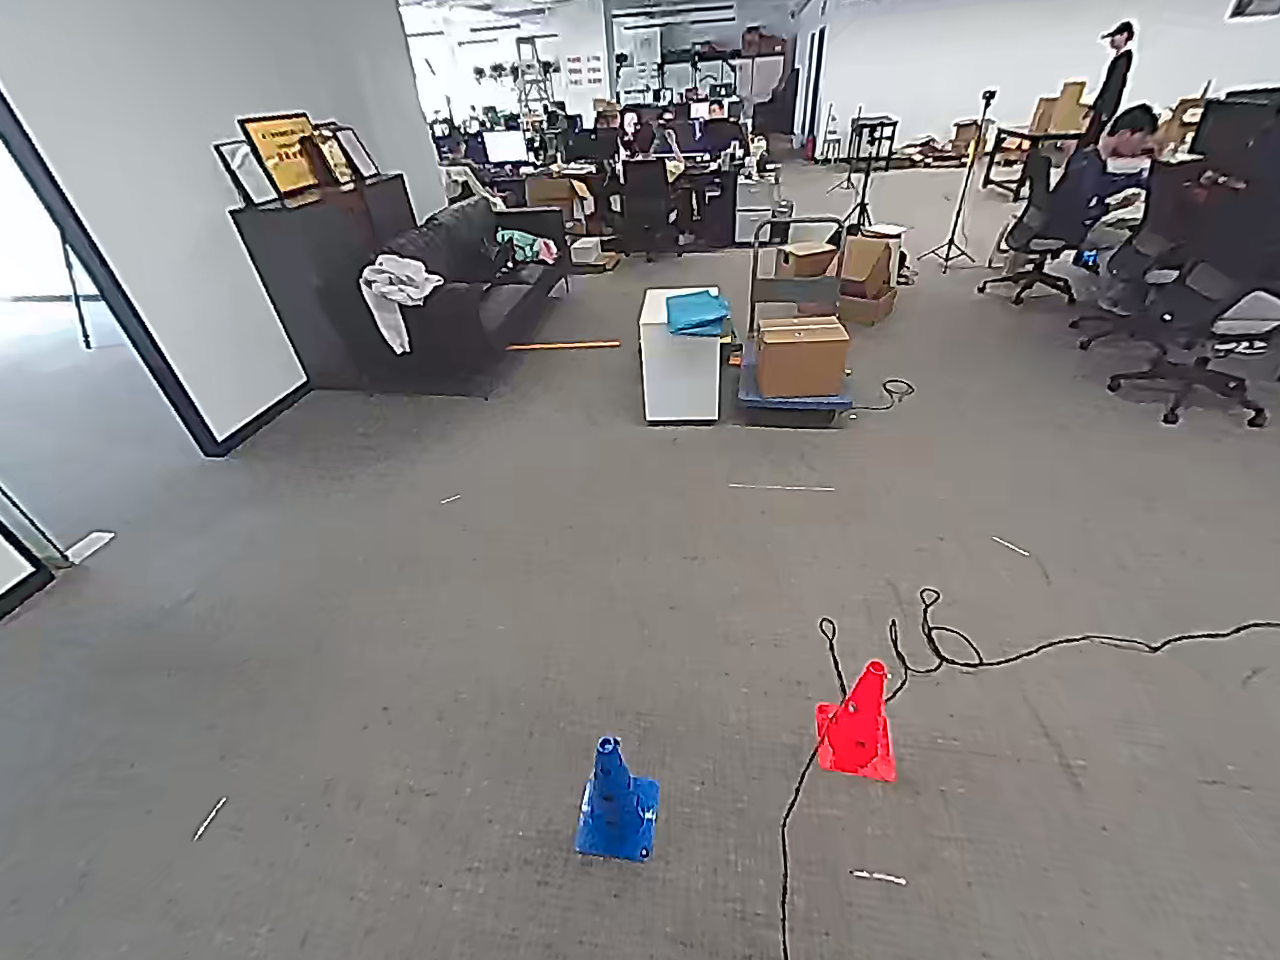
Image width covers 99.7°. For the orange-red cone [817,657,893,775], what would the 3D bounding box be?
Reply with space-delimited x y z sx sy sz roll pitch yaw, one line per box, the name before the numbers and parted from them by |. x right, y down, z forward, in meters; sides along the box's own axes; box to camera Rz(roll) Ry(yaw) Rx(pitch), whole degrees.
orange-red cone | 0.596 0.594 1.440 0.198 0.360 0.199 5 39 14
